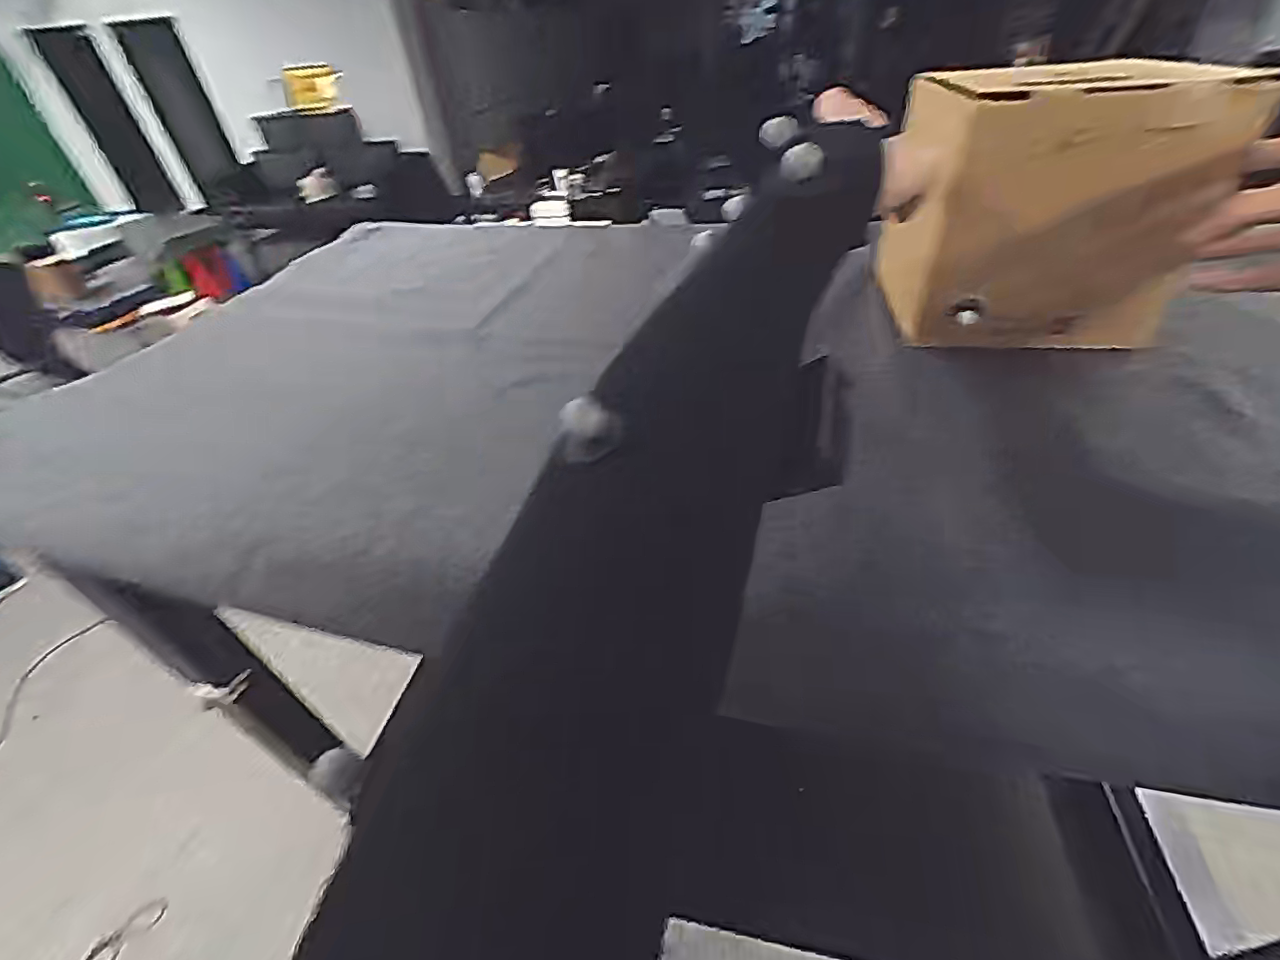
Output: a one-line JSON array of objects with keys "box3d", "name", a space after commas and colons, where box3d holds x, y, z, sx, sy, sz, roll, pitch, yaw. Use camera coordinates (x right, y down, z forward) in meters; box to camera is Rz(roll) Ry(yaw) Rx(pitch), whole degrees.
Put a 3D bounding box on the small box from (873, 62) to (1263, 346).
[{"box3d": [0.301, -0.220, 0.438, 0.168, 0.176, 0.179, 3, 40, 9], "name": "small box"}]
